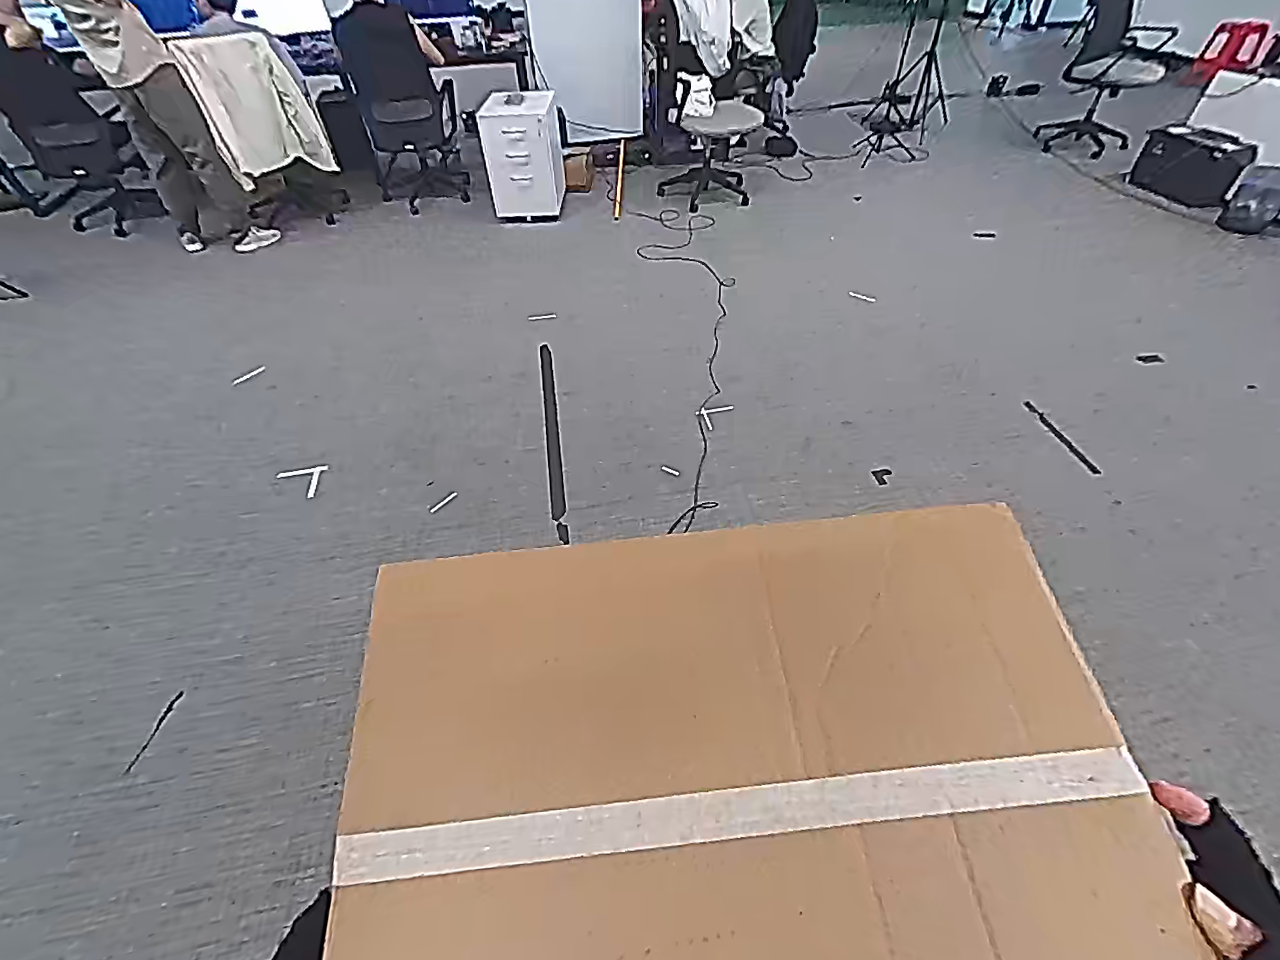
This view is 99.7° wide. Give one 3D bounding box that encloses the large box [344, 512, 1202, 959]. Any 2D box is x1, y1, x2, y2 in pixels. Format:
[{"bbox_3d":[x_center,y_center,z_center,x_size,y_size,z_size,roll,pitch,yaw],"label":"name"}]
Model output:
[{"bbox_3d":[0.056,0.250,0.410,0.408,0.320,0.320,-6,61,-1],"label":"large box"}]
